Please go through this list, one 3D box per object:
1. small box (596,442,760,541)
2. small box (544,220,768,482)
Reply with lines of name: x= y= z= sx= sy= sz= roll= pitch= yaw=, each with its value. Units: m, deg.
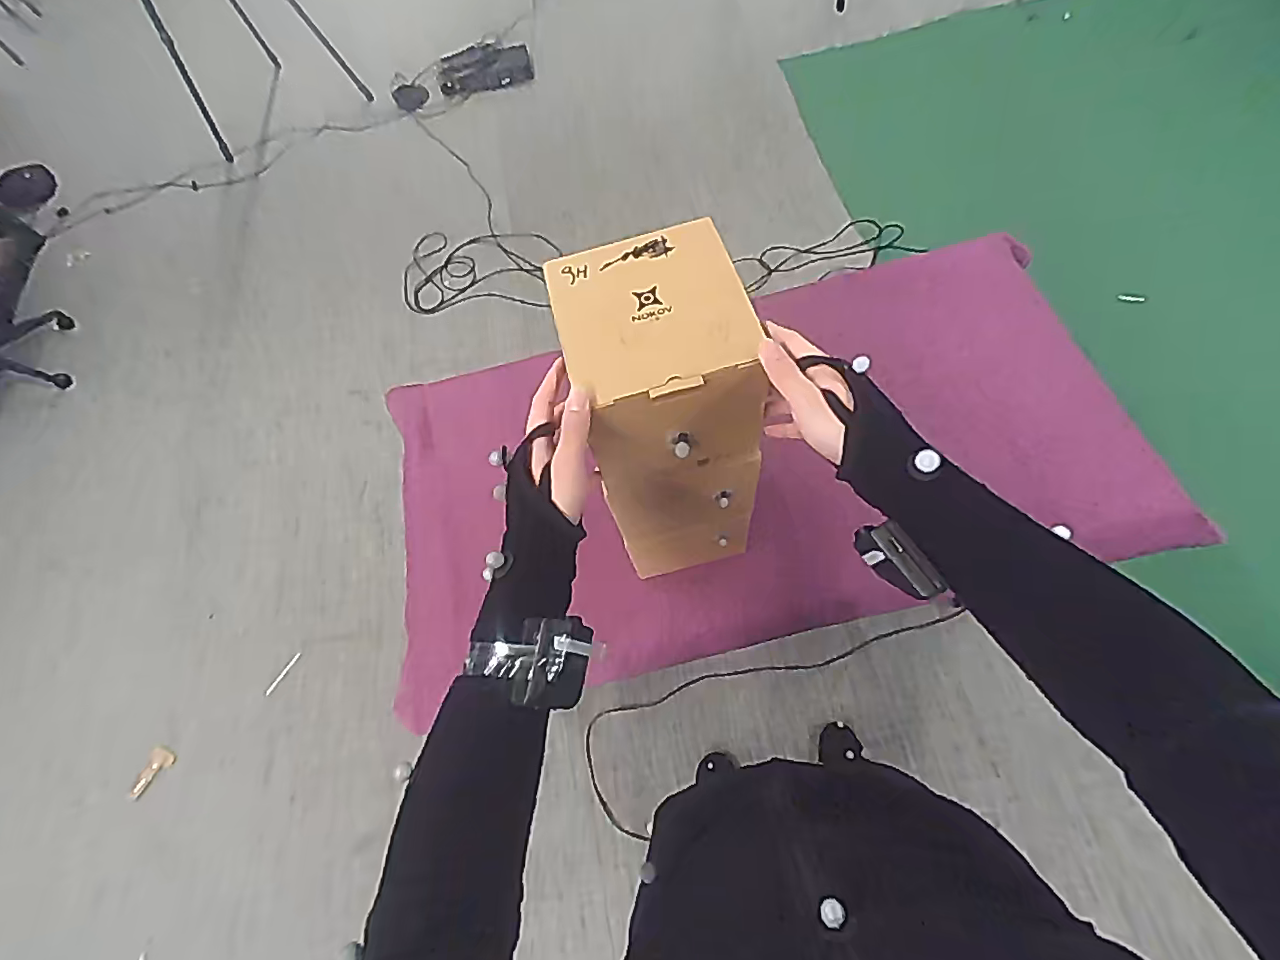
small box: x=0.039 y=-0.039 z=0.684 sx=0.179 sy=0.176 sz=0.168 roll=-14 pitch=63 yaw=2
small box: x=0.018 y=-0.113 z=0.541 sx=0.168 sy=0.176 sz=0.179 roll=-16 pitch=64 yaw=1
